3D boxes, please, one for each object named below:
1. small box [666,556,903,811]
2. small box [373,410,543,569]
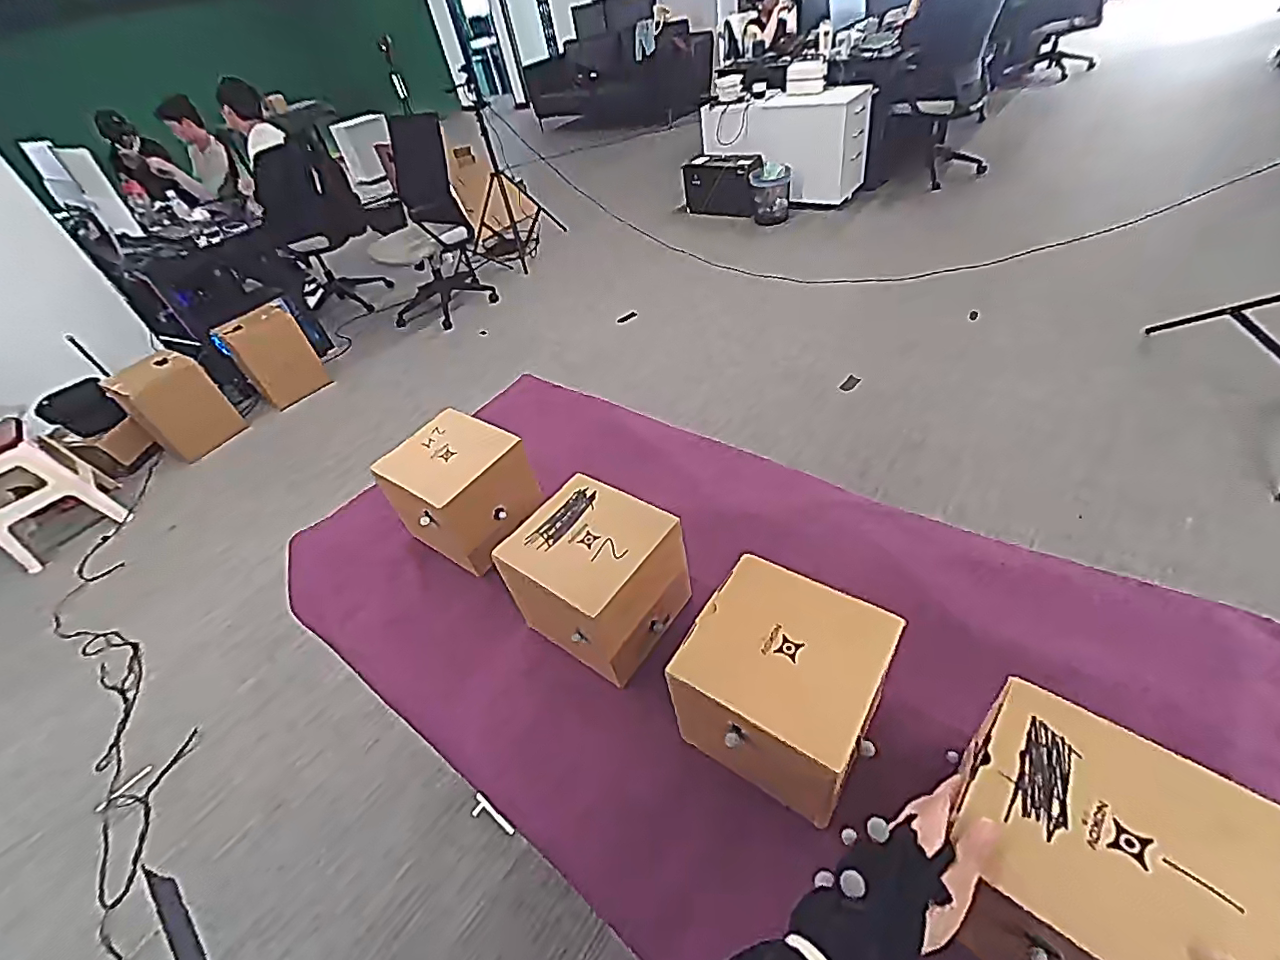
[{"bbox_3d":[0.153,0.218,0.579,0.179,0.176,0.168,21,53,31],"label":"small box"},{"bbox_3d":[-0.284,0.019,0.884,0.179,0.176,0.168,23,53,29],"label":"small box"}]
